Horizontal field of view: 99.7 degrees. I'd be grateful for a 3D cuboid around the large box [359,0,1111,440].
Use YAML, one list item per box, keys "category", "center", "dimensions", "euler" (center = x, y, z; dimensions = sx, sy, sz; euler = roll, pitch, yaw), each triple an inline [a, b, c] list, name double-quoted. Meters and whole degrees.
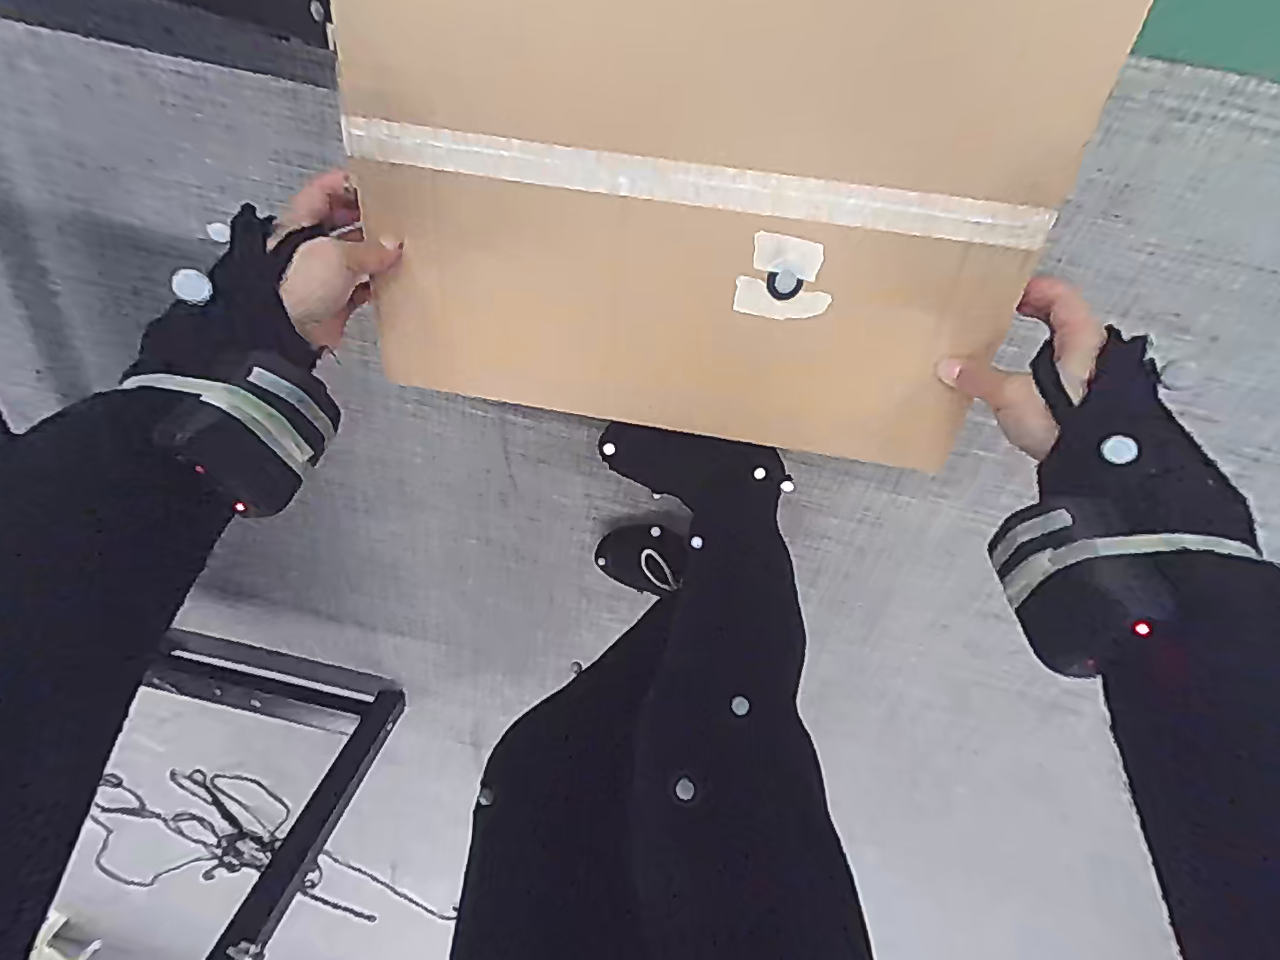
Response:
- category: "large box"
  center: [0.045, -0.256, 0.456]
  dimensions: [0.408, 0.320, 0.320]
  euler: [8, 120, 2]
